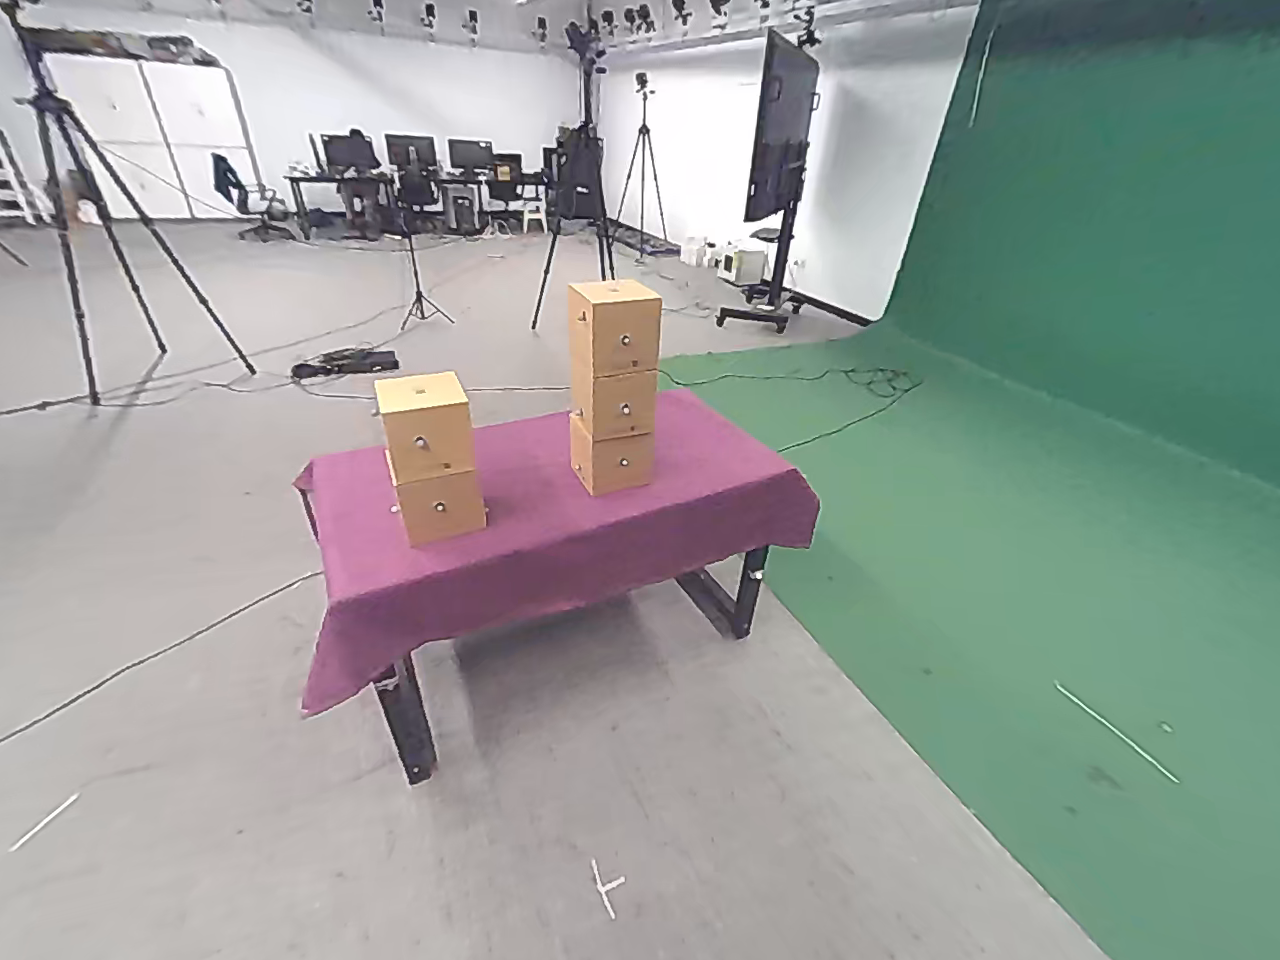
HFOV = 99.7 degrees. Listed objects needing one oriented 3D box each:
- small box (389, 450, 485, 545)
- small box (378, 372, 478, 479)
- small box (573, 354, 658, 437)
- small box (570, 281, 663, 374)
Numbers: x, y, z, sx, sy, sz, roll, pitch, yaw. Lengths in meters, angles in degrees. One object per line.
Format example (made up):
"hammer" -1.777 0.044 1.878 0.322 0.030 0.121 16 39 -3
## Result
"small box" -0.462 0.024 1.246 0.179 0.176 0.168 -14 37 -24
"small box" -0.453 -0.114 1.161 0.168 0.176 0.179 -13 35 -23
"small box" -0.064 -0.216 1.351 0.168 0.176 0.179 -10 36 -20
"small box" -0.058 -0.353 1.258 0.168 0.176 0.179 -11 36 -21
